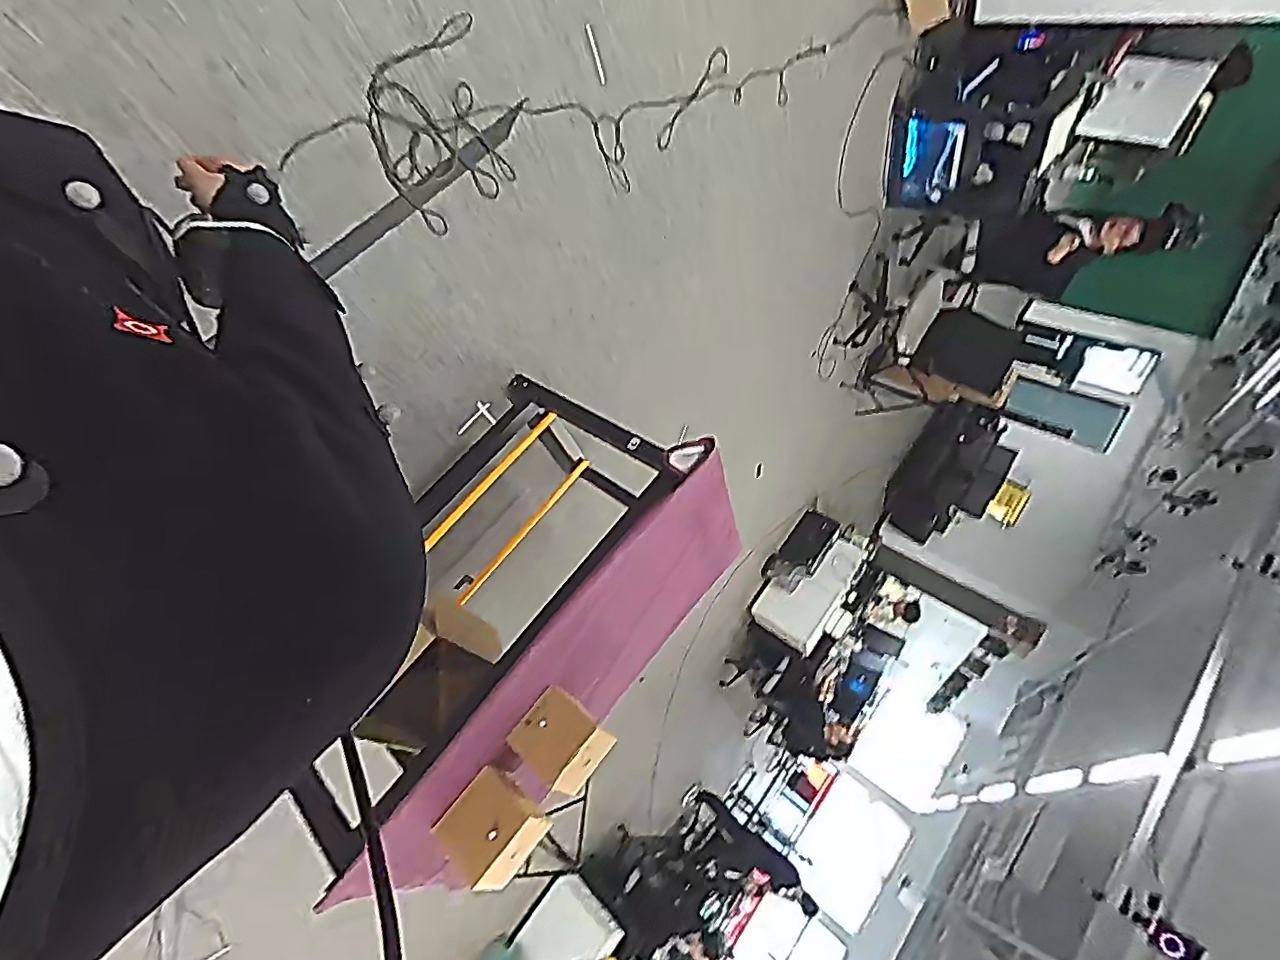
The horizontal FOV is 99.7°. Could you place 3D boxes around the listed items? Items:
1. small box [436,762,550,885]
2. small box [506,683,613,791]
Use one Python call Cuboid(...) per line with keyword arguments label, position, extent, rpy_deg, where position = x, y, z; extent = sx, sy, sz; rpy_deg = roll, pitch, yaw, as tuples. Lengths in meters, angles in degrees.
Cuboid(label="small box", position=(-0.351, 0.809, 1.276), extent=(0.179, 0.176, 0.168), rpy_deg=(-47, 148, -21))
Cuboid(label="small box", position=(-0.198, 0.638, 1.350), extent=(0.168, 0.176, 0.179), rpy_deg=(-49, 147, -19))
